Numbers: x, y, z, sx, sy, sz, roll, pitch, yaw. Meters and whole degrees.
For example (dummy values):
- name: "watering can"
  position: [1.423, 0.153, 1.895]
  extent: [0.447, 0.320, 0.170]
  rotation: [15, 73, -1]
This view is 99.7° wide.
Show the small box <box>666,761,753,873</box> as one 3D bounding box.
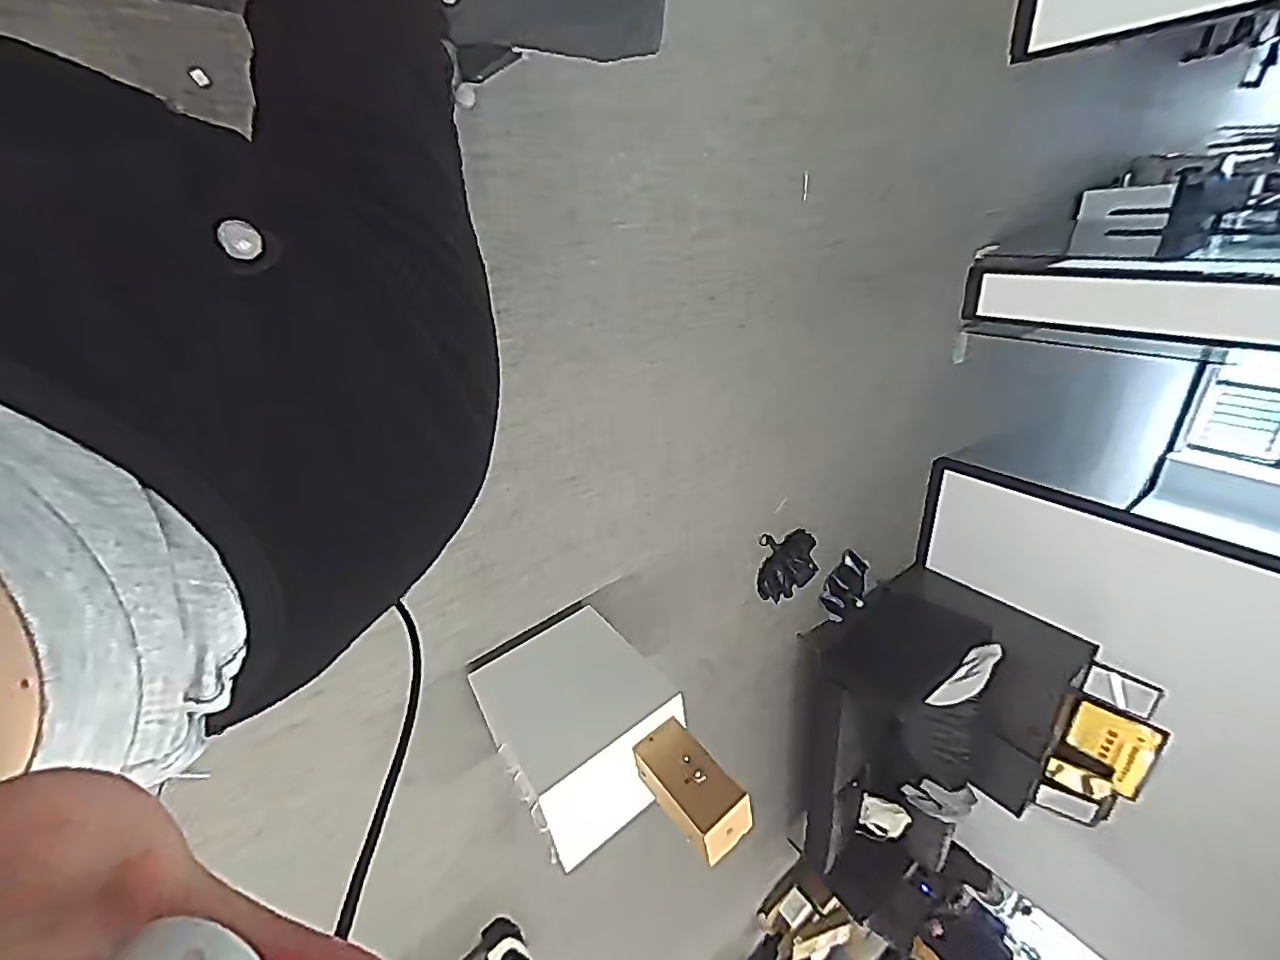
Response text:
- name: "small box"
  position: [0.195, 0.940, 1.521]
  extent: [0.168, 0.176, 0.179]
  rotation: [-30, 125, -25]

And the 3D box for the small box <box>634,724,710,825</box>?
- name: "small box"
  position: [0.101, 0.887, 1.643]
  extent: [0.168, 0.176, 0.179]
  rotation: [-27, 125, -26]
